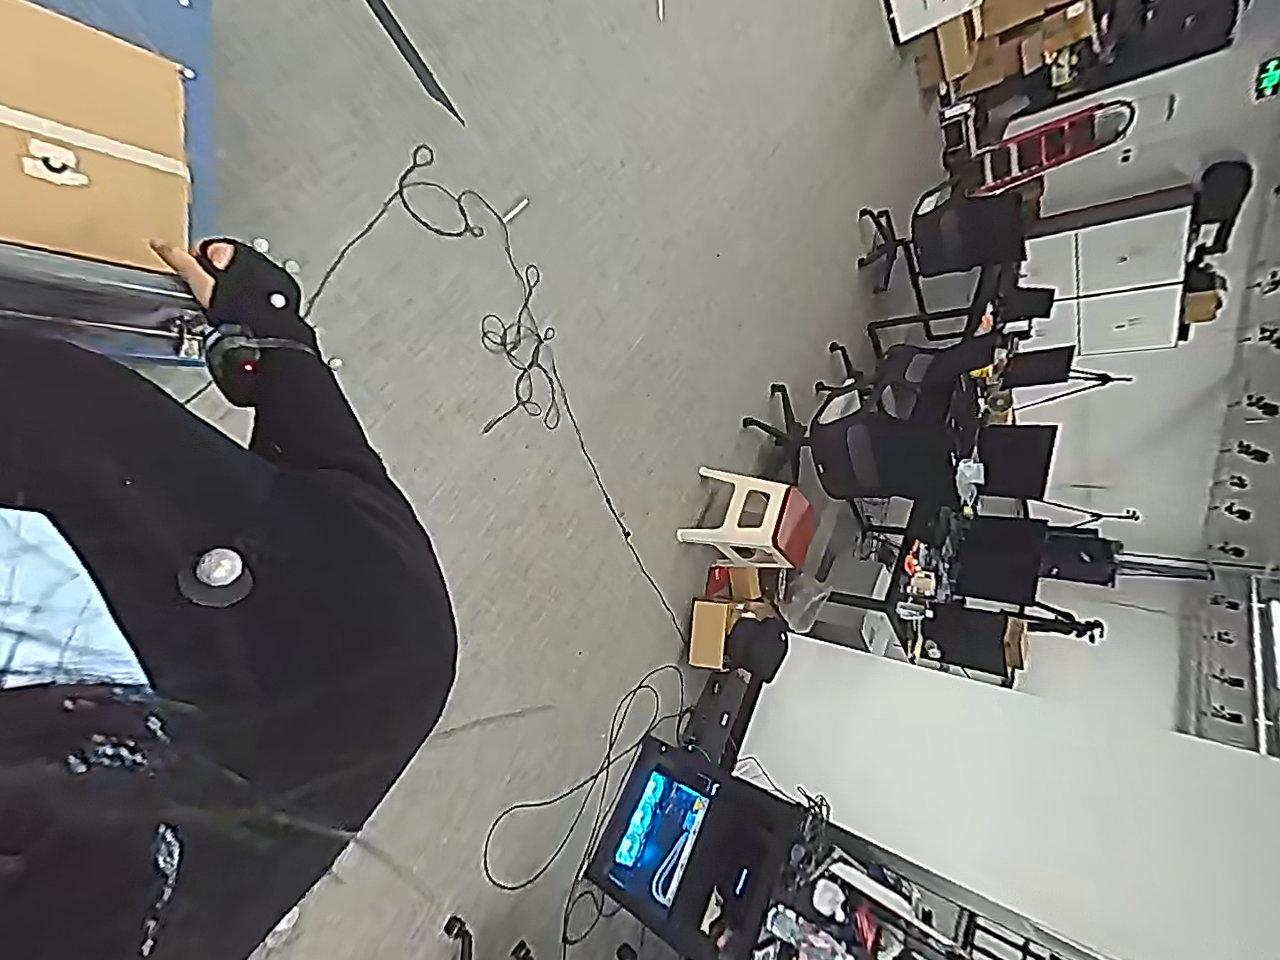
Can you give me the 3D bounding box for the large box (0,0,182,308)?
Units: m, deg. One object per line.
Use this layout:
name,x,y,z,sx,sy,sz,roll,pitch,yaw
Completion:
large box,-0.939,-0.457,0.759,0.408,0.320,0.320,-2,95,-49
